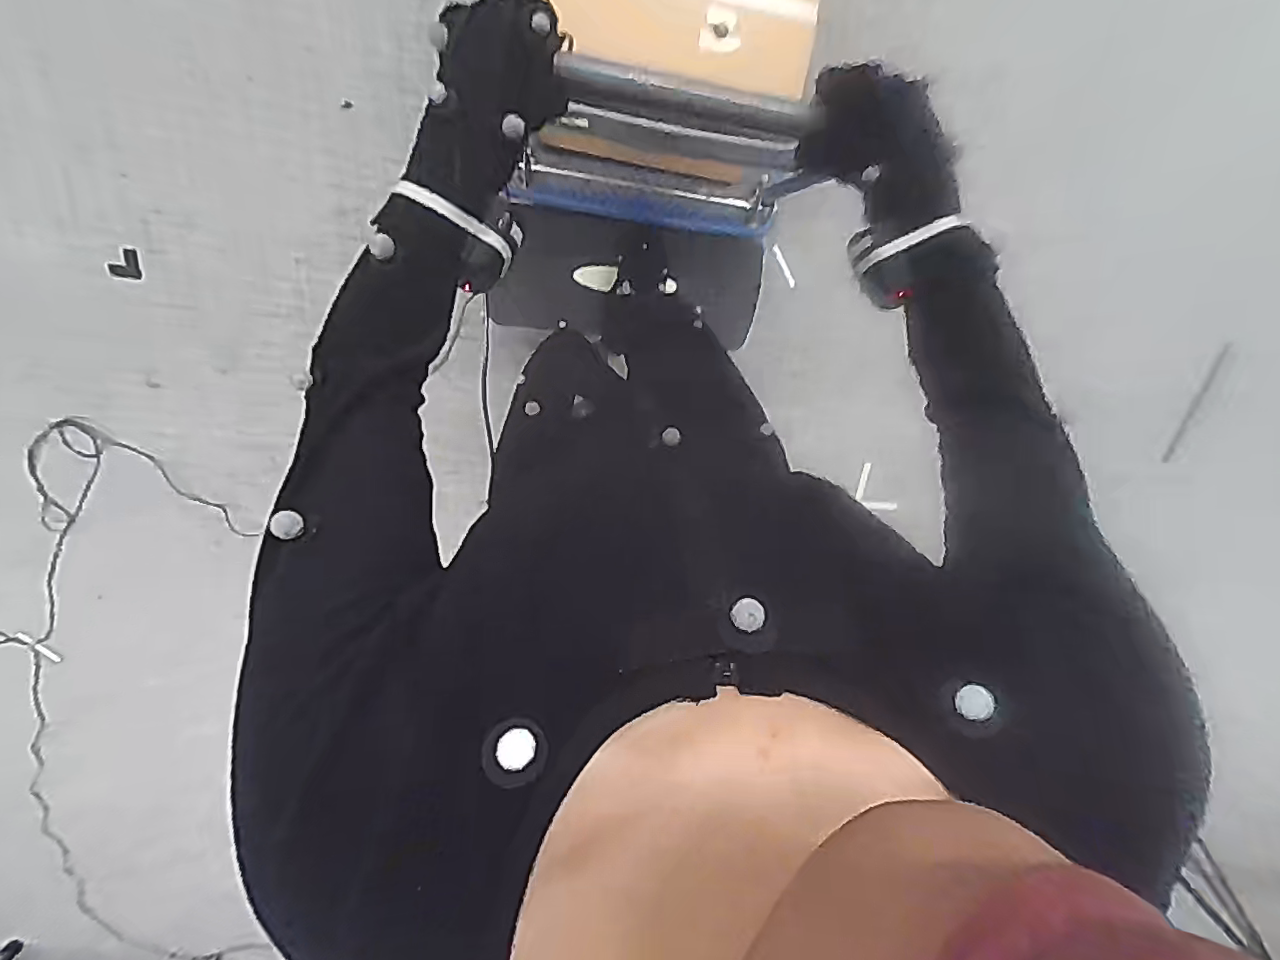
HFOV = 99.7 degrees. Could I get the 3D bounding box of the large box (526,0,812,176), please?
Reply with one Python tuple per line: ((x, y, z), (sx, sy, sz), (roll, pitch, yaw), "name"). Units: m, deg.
((0.031, -0.735, 0.892), (0.408, 0.320, 0.320), (6, 108, -10), "large box")
